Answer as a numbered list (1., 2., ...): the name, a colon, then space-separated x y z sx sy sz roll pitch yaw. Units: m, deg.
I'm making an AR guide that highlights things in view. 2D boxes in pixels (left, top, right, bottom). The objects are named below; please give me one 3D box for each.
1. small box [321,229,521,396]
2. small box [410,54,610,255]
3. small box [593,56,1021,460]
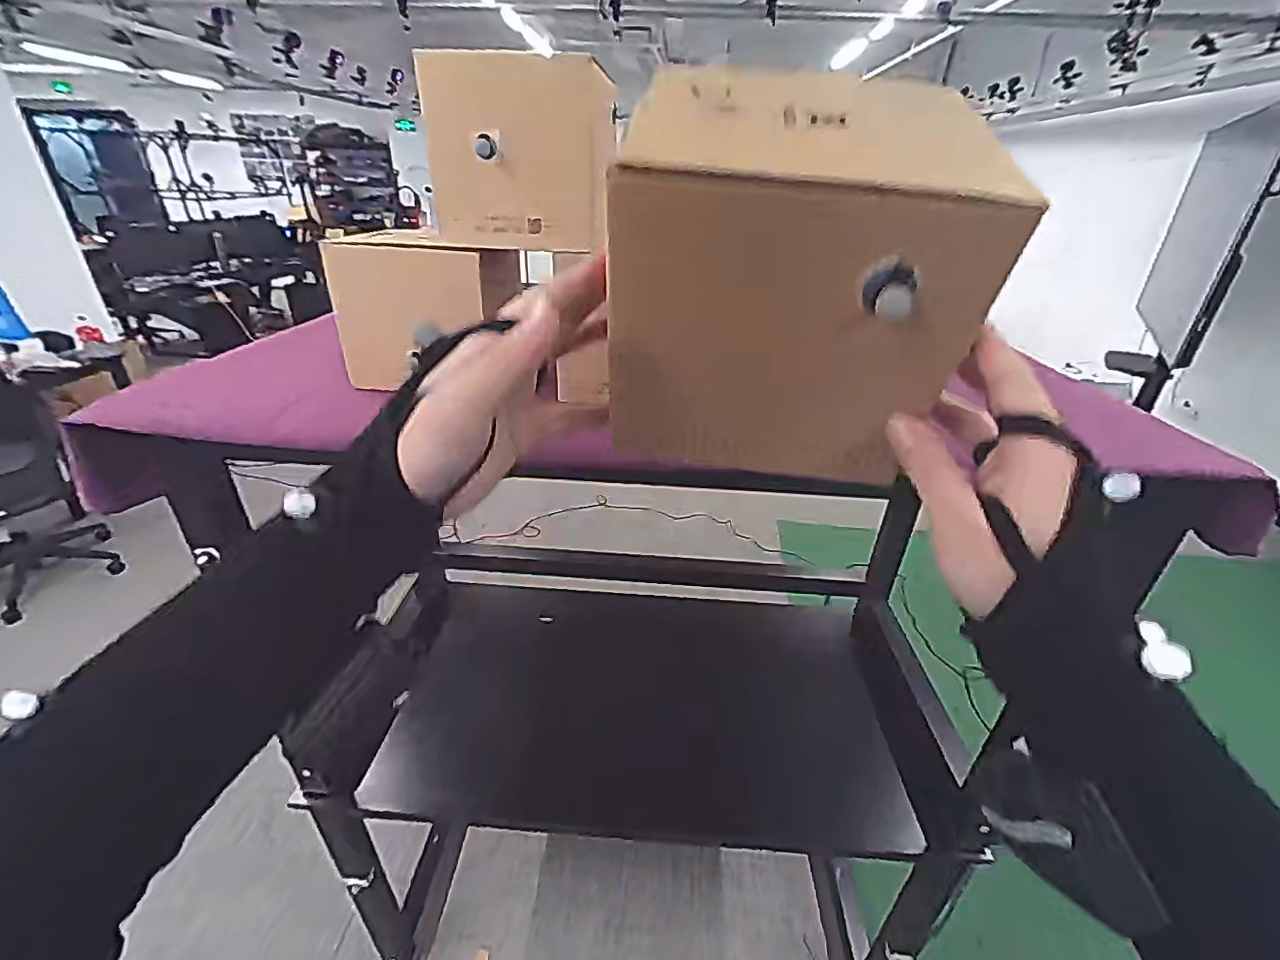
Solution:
1. small box: -0.255 -0.213 0.683 0.179 0.176 0.168 5 29 2
2. small box: -0.123 -0.347 0.597 0.168 0.176 0.179 4 29 4
3. small box: 0.077 -0.131 0.330 0.179 0.176 0.168 7 49 6
